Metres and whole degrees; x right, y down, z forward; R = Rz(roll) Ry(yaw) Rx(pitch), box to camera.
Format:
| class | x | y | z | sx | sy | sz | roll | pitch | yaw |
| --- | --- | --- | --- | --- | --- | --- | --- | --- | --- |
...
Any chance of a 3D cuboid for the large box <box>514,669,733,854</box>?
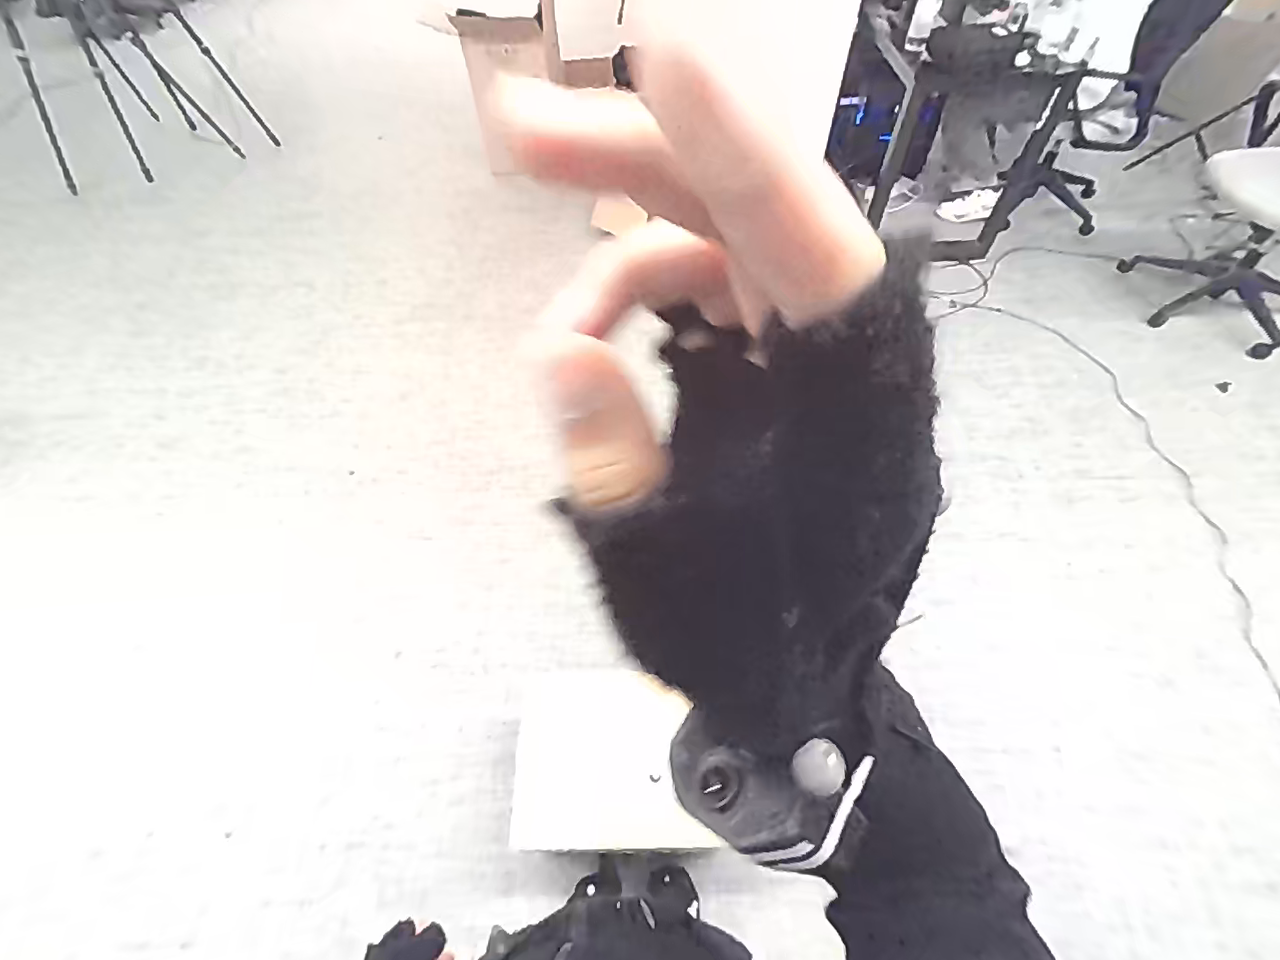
| class | x | y | z | sx | sy | sz | roll | pitch | yaw |
| --- | --- | --- | --- | --- | --- | --- | --- | --- | --- |
| large box | -0.033 | 0.617 | 1.175 | 0.408 | 0.320 | 0.320 | -1 | 55 | 0 |
